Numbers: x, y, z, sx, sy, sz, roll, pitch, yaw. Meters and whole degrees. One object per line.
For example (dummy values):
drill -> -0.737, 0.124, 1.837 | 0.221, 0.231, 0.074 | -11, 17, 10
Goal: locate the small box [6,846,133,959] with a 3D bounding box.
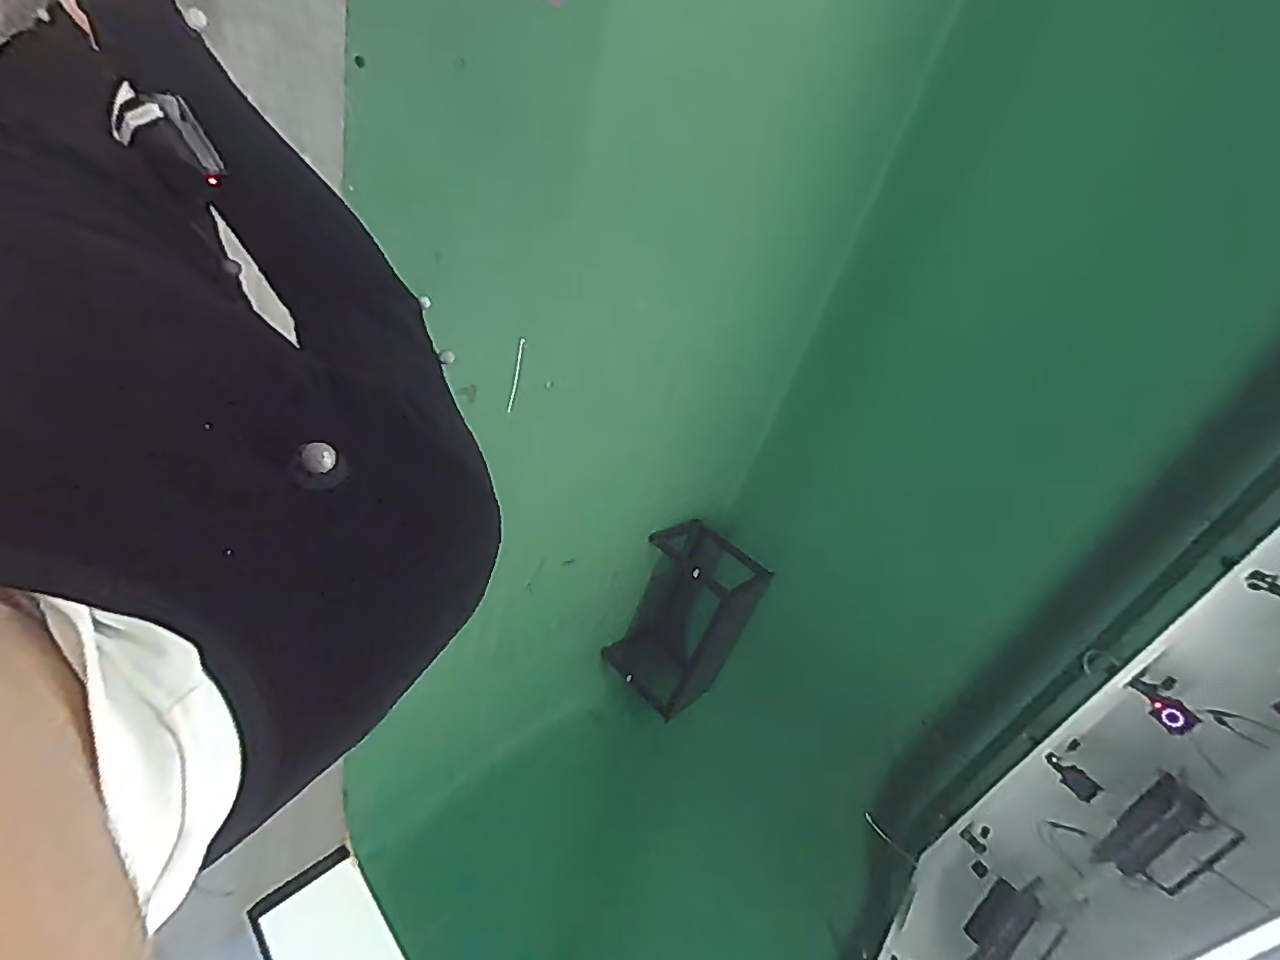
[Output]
small box -> -1.246, 0.952, 1.185 | 0.168, 0.176, 0.179 | -12, 132, -48

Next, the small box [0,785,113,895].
small box -> -1.359, 0.864, 1.264 | 0.168, 0.176, 0.179 | -13, 134, -49
